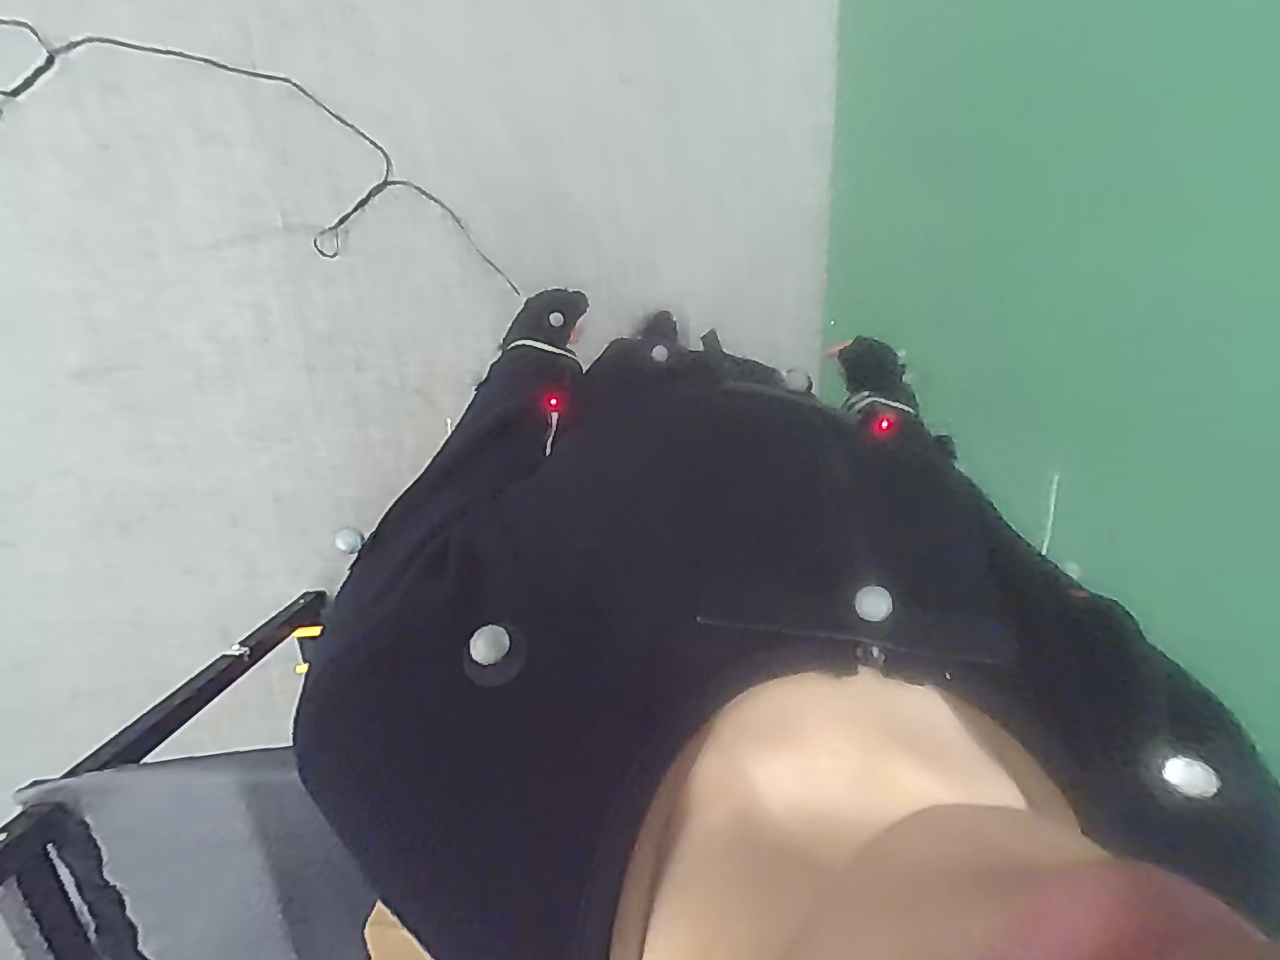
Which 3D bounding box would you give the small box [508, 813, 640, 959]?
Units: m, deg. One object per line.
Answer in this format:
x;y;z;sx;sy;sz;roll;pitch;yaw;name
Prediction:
-0.088;0.647;0.821;0.168;0.176;0.179;-5;105;2;small box
